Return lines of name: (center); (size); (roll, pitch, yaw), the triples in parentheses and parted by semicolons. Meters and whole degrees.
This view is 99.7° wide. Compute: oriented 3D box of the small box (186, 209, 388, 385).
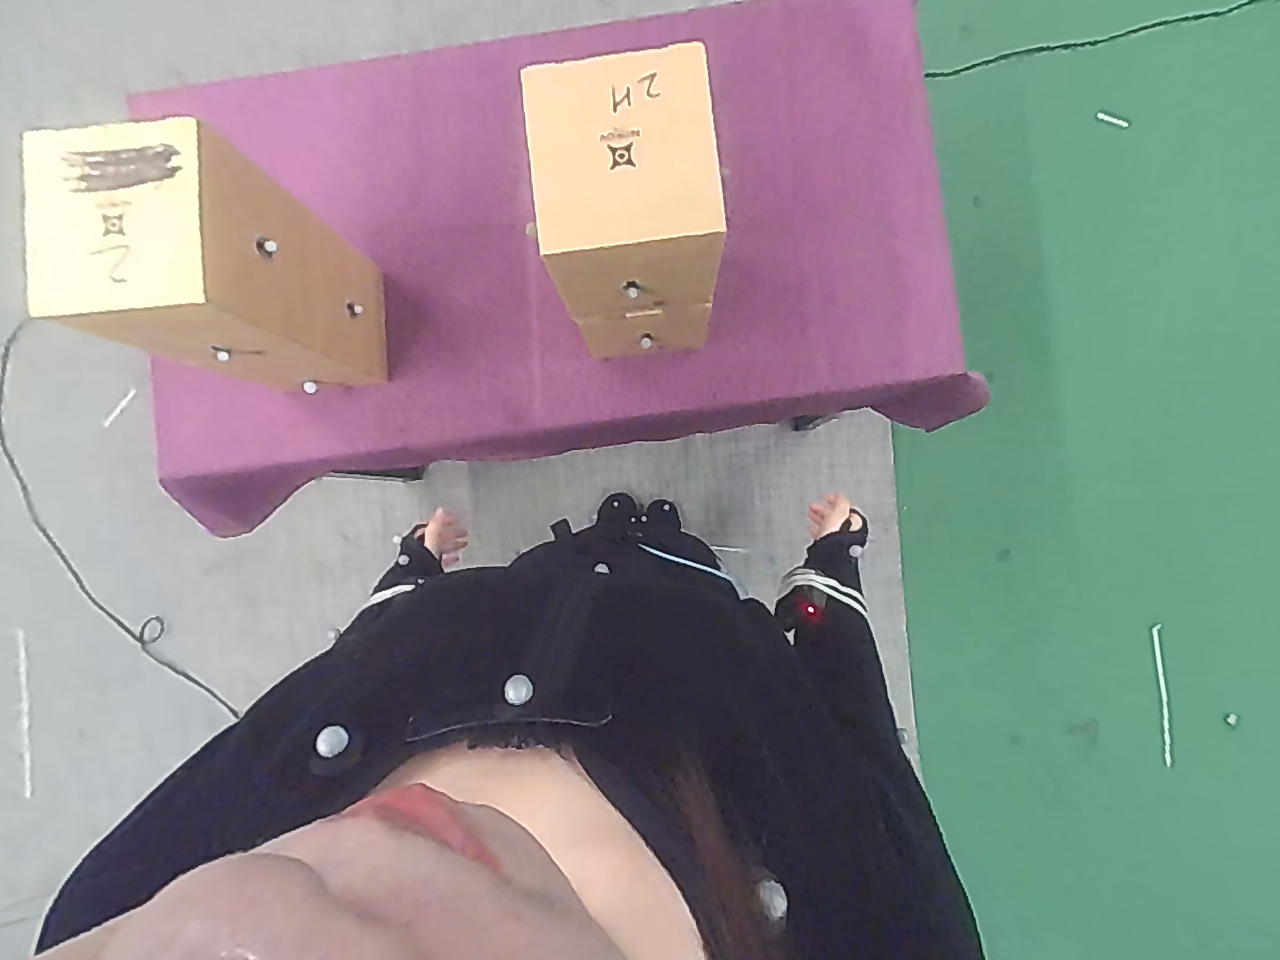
small box: (-0.463, -0.235, 0.732); (0.168, 0.176, 0.179); (-4, 89, 2)

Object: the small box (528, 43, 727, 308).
small box: (-0.008, -0.288, 0.554); (0.168, 0.176, 0.179); (-6, 88, 1)

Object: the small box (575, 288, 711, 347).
small box: (0.001, -0.283, 0.720); (0.168, 0.176, 0.179); (-5, 89, 1)
